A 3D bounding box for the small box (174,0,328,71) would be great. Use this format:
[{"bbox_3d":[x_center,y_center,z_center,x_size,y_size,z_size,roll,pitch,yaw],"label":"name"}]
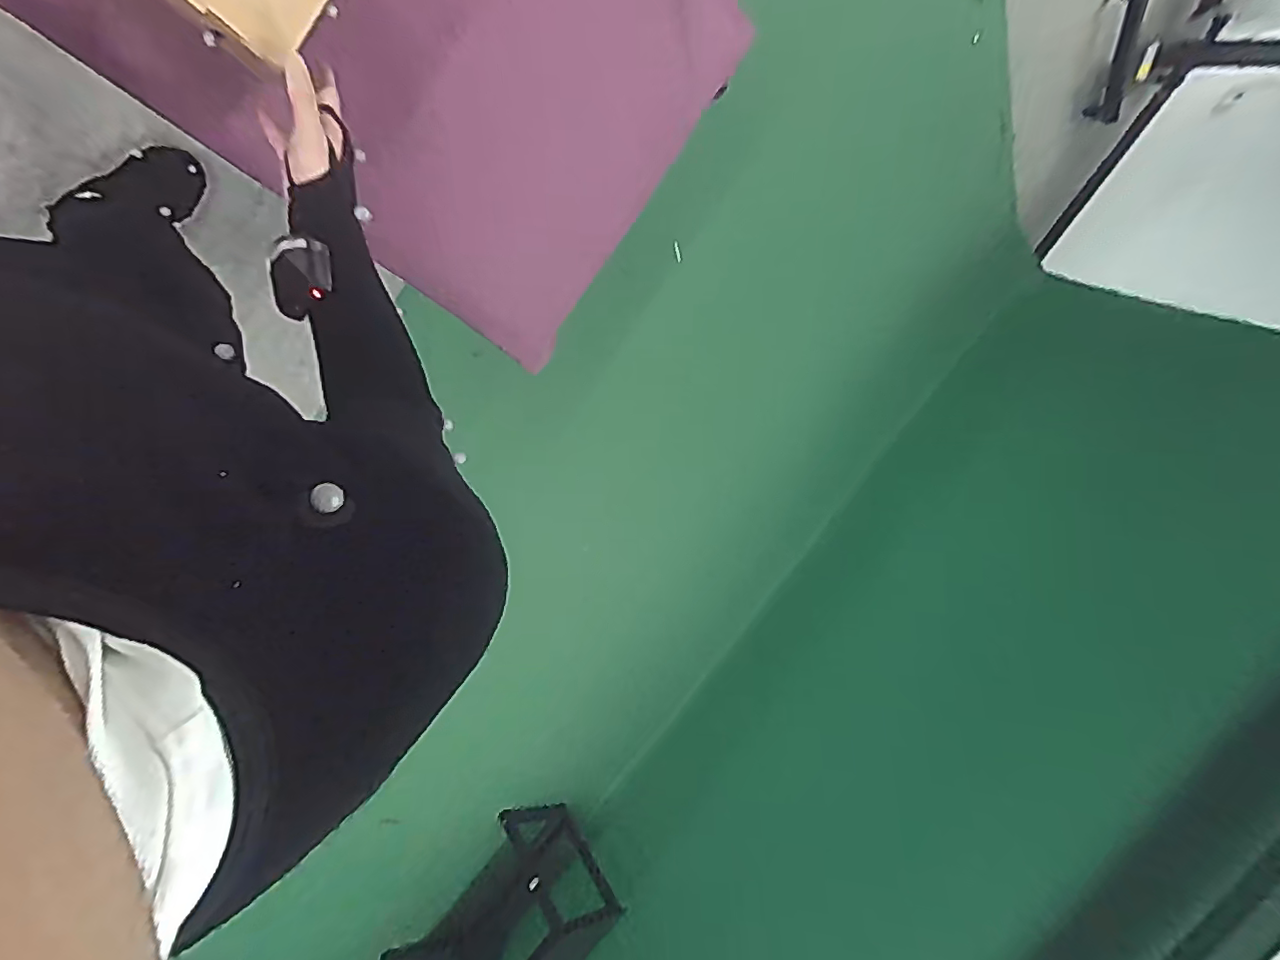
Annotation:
[{"bbox_3d":[-0.366,-0.502,0.474,0.179,0.176,0.168,-54,140,4],"label":"small box"}]
